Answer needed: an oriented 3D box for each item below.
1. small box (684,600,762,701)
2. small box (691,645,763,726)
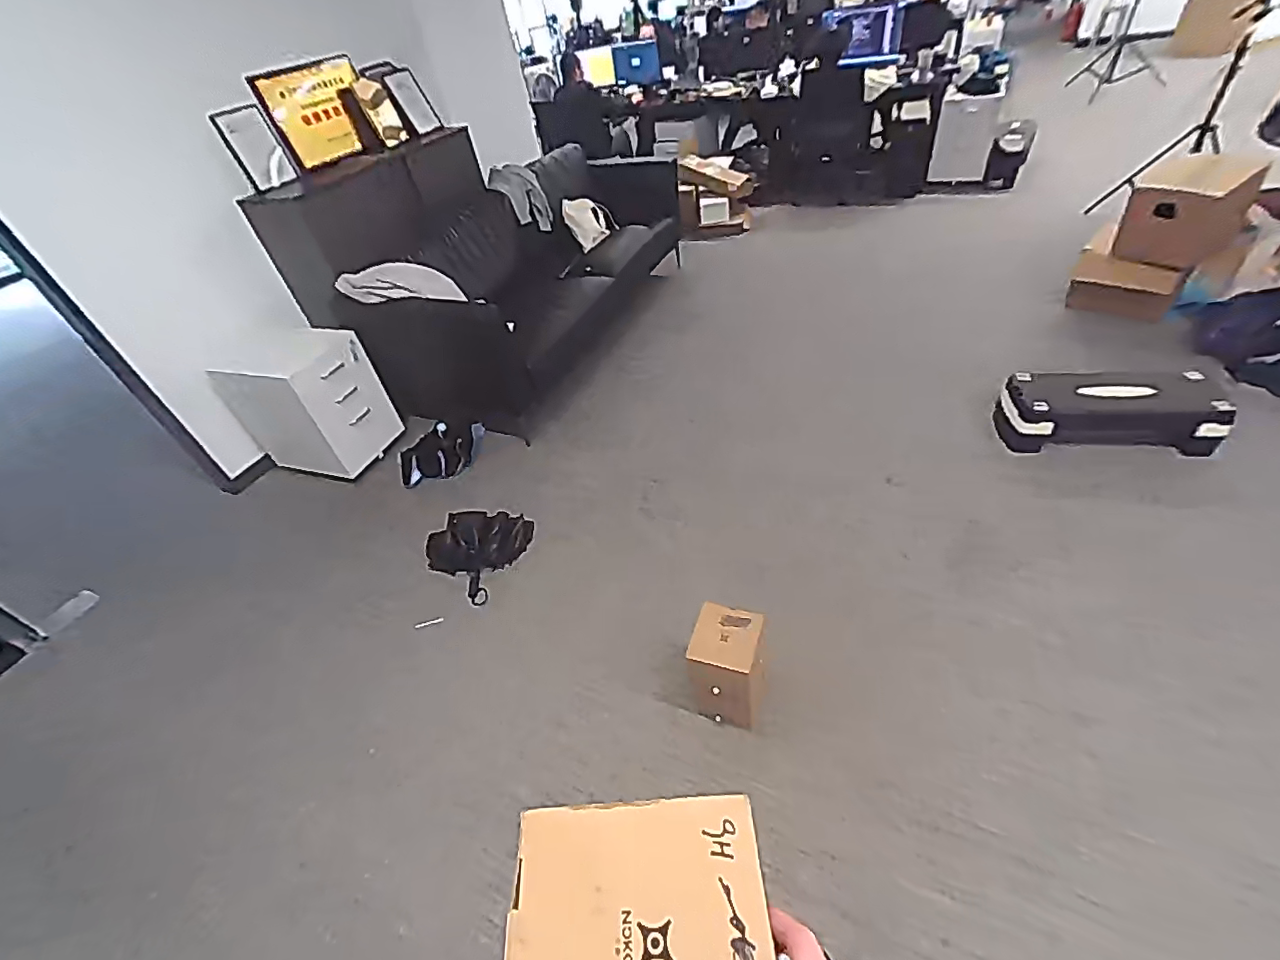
[{"bbox_3d":[0.225,0.453,1.440,0.168,0.176,0.179,8,45,22],"label":"small box"},{"bbox_3d":[0.253,0.570,1.552,0.168,0.176,0.179,8,46,22],"label":"small box"}]
